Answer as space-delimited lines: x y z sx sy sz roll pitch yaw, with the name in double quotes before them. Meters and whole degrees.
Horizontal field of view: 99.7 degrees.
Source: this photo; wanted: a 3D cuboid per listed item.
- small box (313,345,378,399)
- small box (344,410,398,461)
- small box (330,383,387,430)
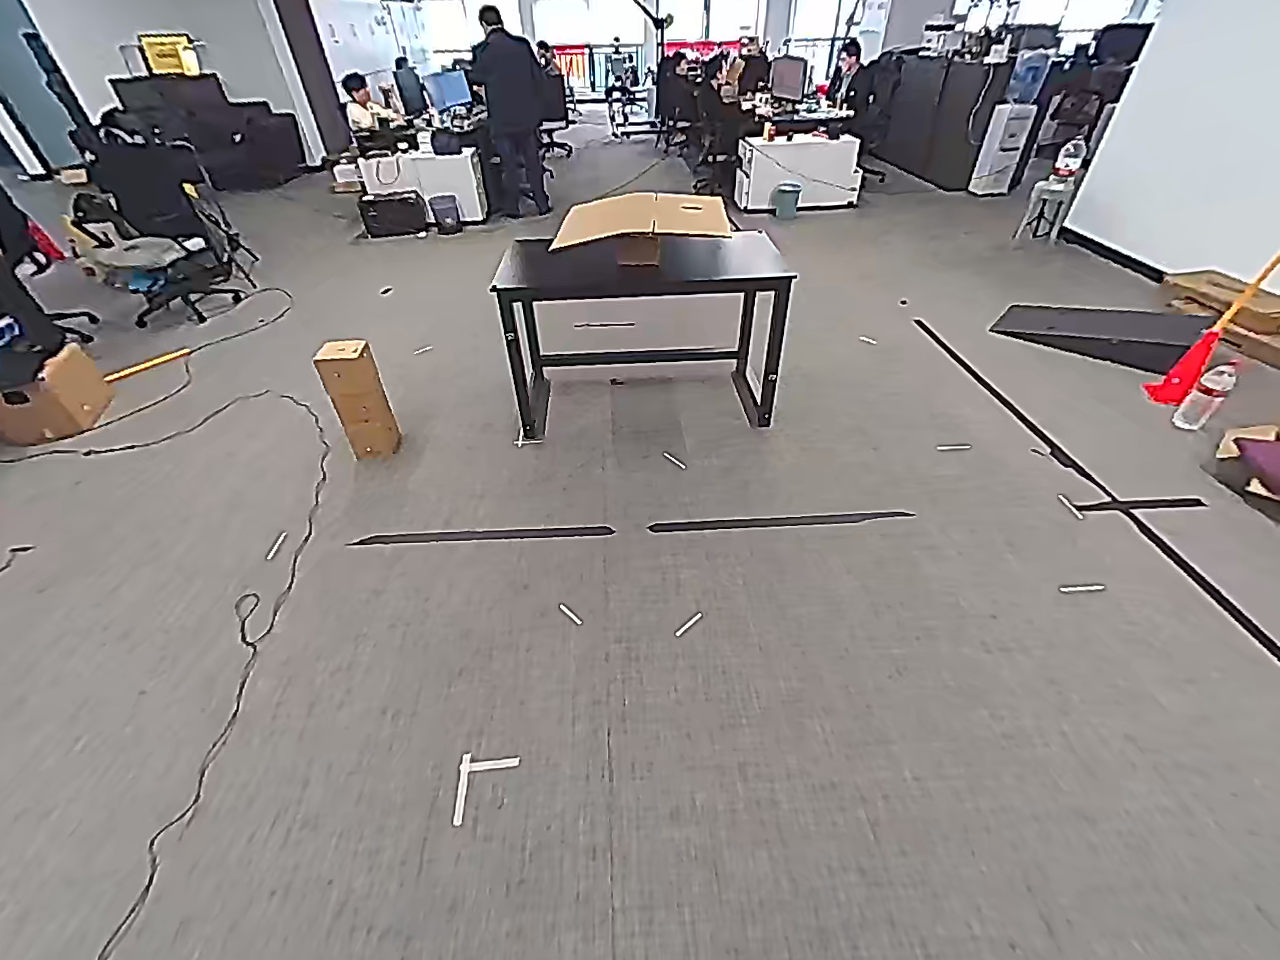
"small box" -1.253 -0.459 2.312 0.179 0.176 0.168 -6 40 -5
"small box" -1.246 -0.208 2.520 0.168 0.176 0.179 -6 41 -4
"small box" -1.254 -0.335 2.419 0.168 0.176 0.179 -7 39 -8
